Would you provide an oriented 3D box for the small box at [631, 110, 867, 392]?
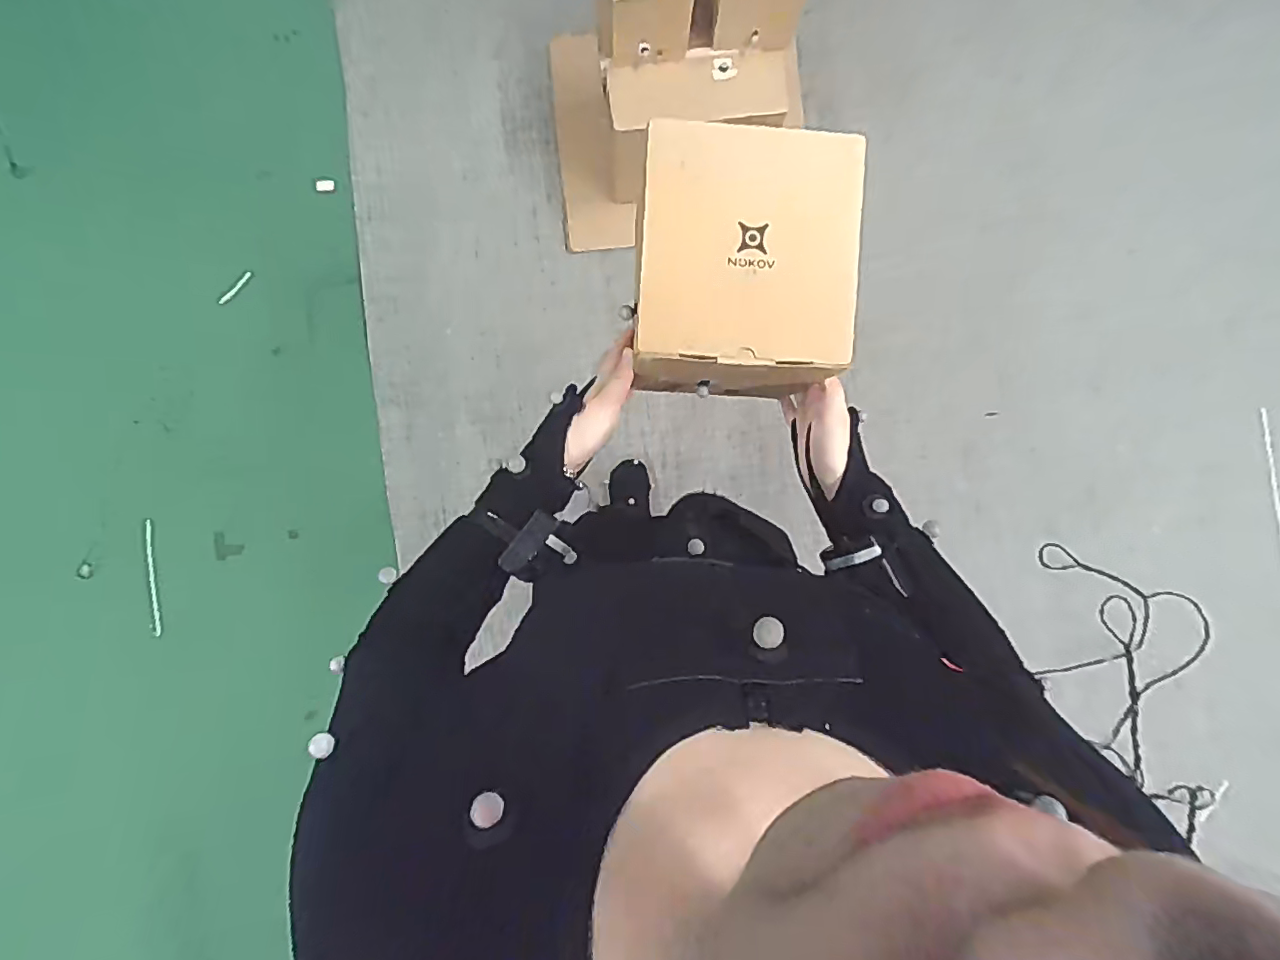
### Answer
[{"bbox_3d":[0.080,-0.182,0.481,0.168,0.176,0.179,3,92,-4],"label":"small box"}]

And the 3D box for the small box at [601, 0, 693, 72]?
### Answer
[{"bbox_3d":[0.008,-1.003,1.125,0.168,0.176,0.179,-10,88,-2],"label":"small box"}]

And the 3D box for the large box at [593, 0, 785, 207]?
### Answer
[{"bbox_3d":[0.105,-0.939,1.369,0.408,0.320,0.320,-8,89,-3],"label":"large box"}]

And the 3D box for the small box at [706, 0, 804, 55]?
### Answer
[{"bbox_3d":[0.238,-1.033,1.130,0.179,0.176,0.168,-2,88,-1],"label":"small box"}]
